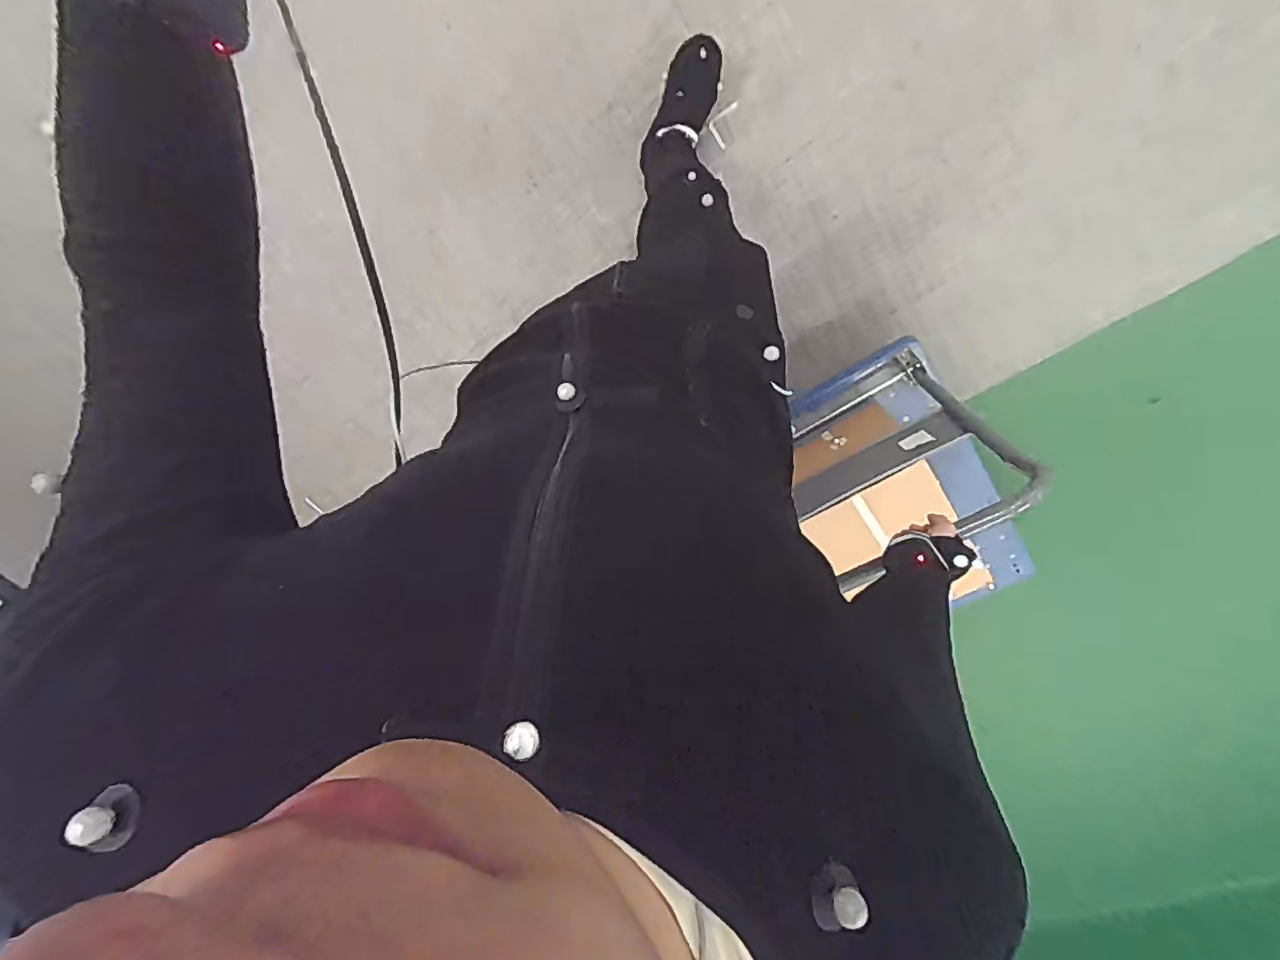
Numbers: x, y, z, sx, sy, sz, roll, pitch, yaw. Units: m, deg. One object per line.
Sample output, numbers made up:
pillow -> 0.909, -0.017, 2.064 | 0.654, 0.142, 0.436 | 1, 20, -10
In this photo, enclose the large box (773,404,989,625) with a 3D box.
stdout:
large box -> 0.593, 0.084, 1.385 | 0.320, 0.320, 0.408 | -31, 113, 21
